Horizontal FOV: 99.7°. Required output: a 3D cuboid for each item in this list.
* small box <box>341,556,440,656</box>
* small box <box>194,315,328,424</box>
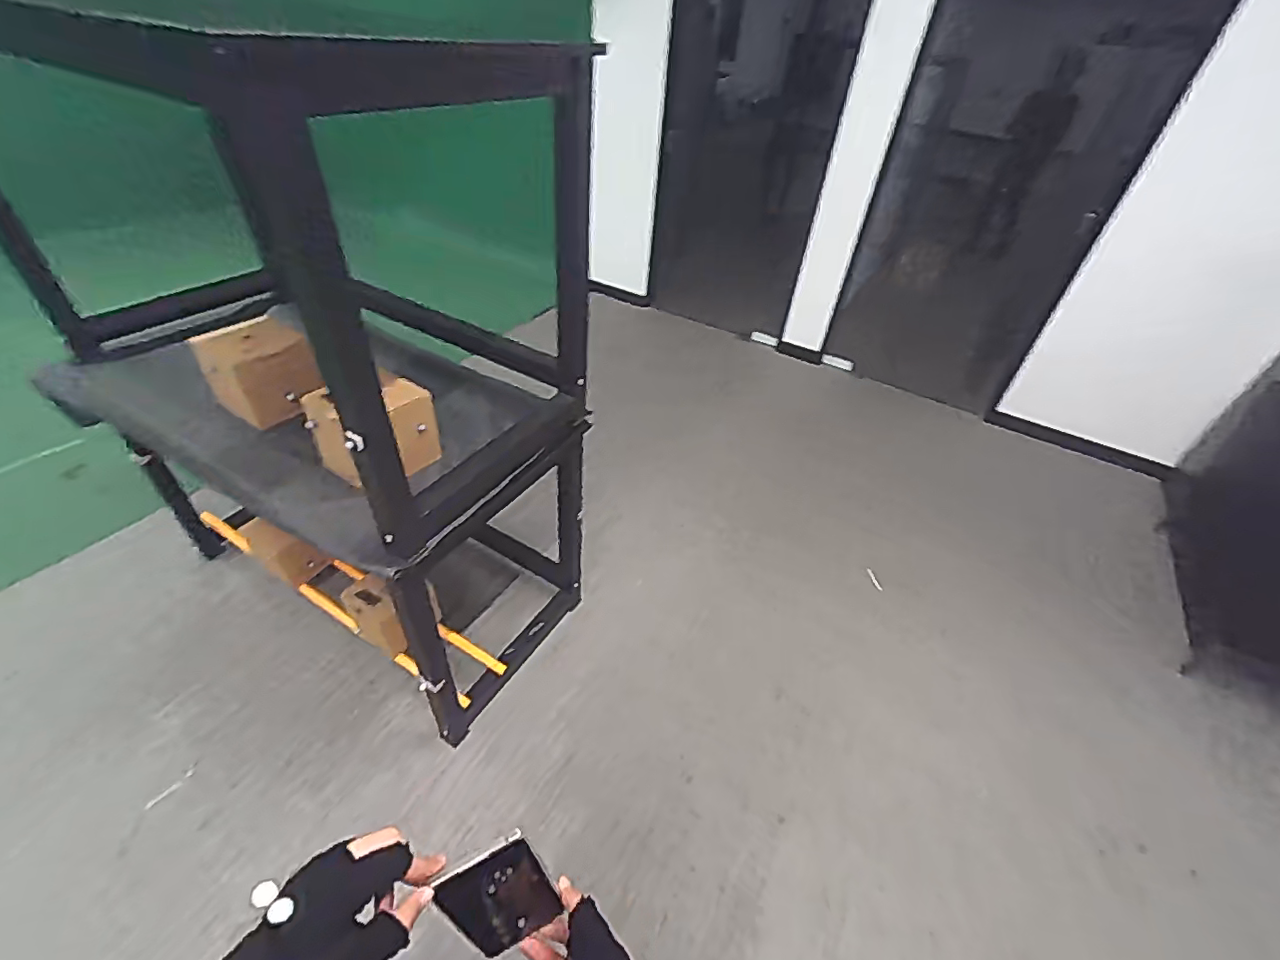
[{"bbox_3d":[-0.689,0.354,1.514,0.168,0.176,0.179,27,45,23],"label":"small box"},{"bbox_3d":[-0.859,-0.253,1.240,0.179,0.176,0.168,27,45,23],"label":"small box"}]
